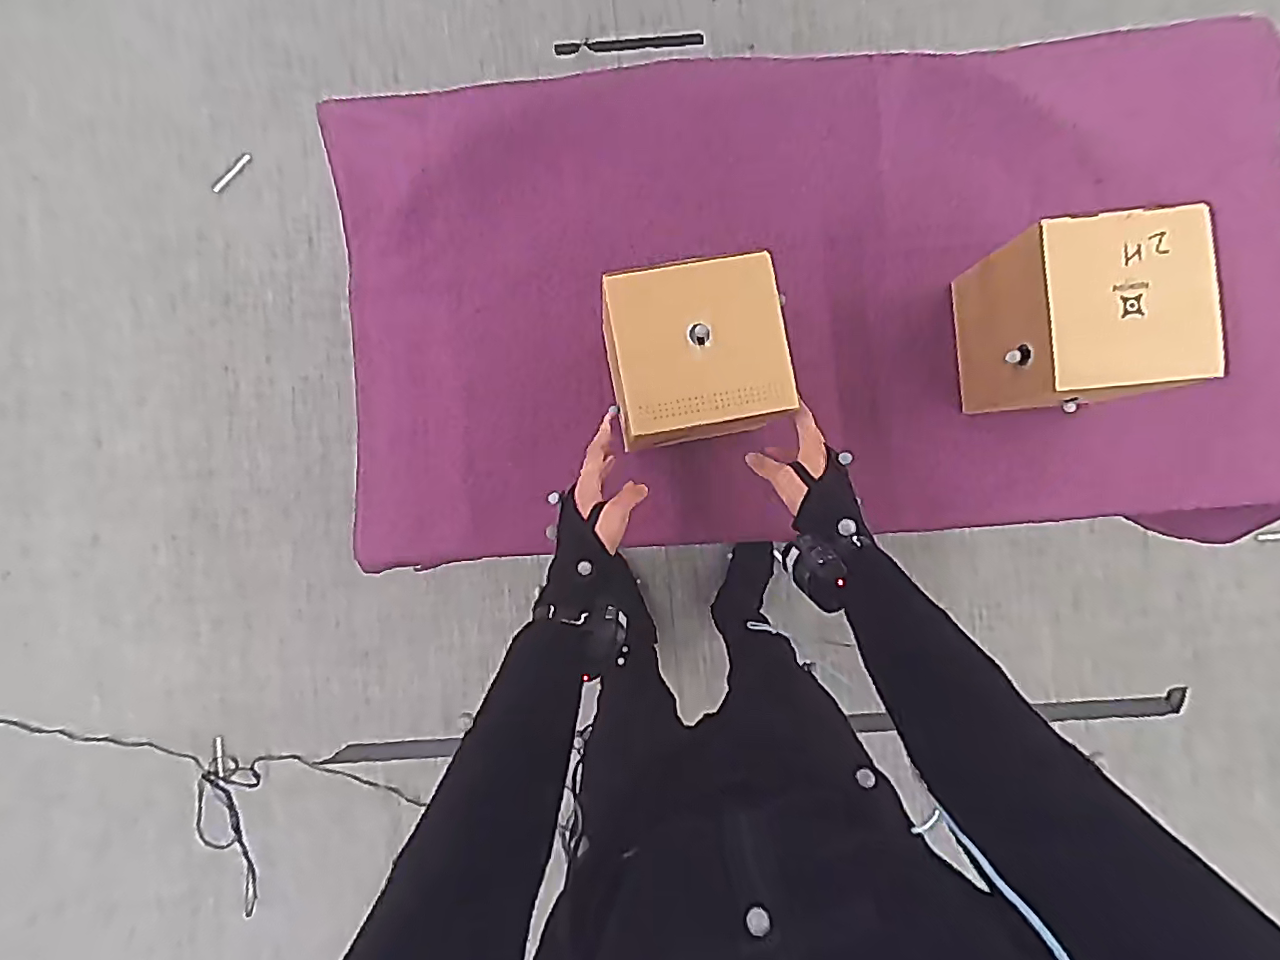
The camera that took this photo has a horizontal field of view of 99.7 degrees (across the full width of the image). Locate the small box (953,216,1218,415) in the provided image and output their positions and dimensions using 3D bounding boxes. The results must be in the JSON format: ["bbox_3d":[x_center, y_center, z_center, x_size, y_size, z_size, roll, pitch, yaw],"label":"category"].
[{"bbox_3d":[0.489,-0.171,0.620,0.168,0.176,0.179,-5,89,2],"label":"small box"}]
